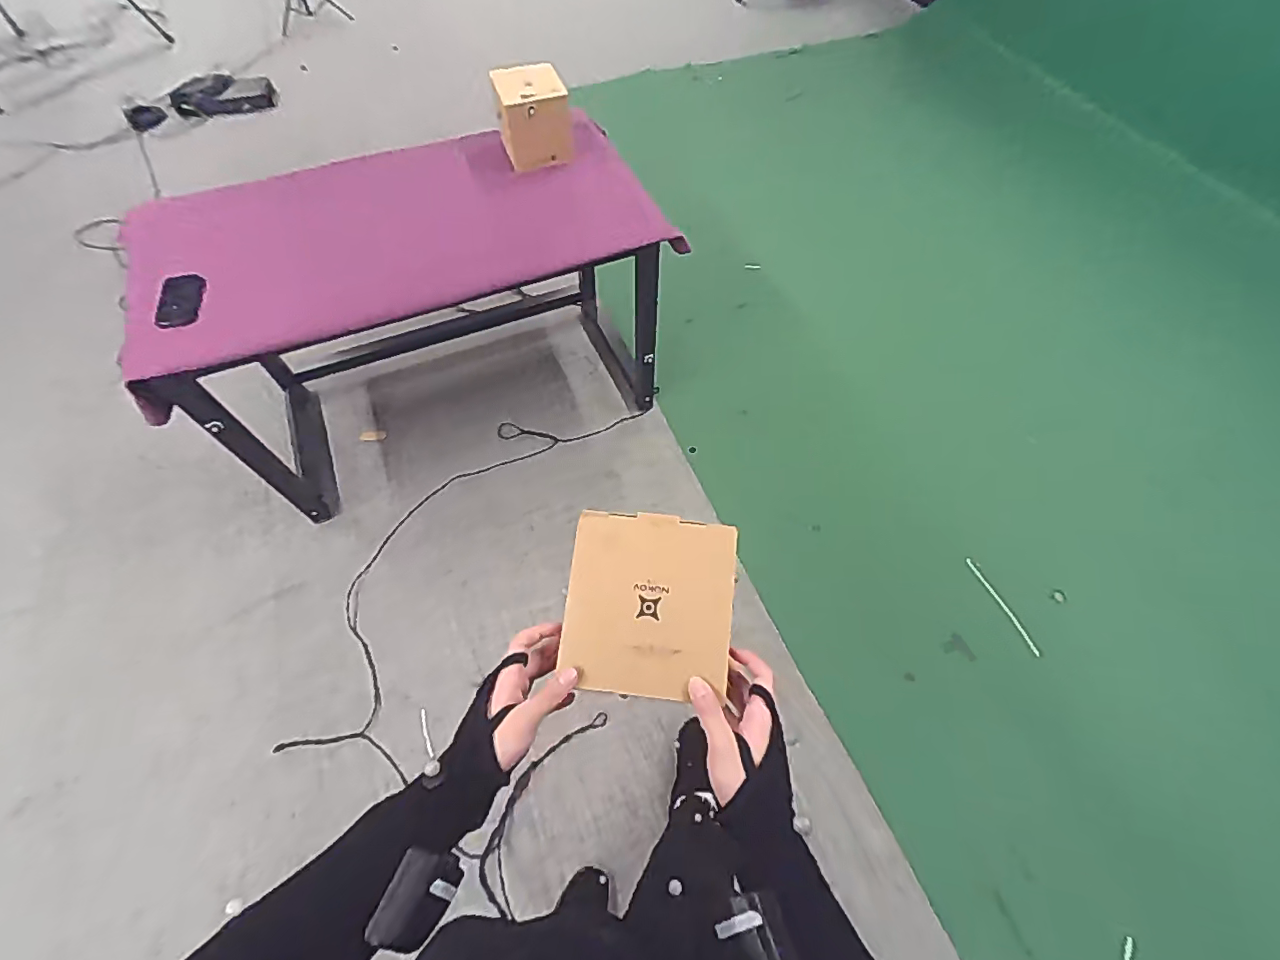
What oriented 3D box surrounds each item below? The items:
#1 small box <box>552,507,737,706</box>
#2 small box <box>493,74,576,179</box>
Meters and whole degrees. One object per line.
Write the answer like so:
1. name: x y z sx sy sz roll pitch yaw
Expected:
1. small box: 0.008 0.142 0.608 0.168 0.176 0.179 7 74 3
2. small box: -0.277 -0.937 1.438 0.168 0.176 0.179 -18 61 -10
